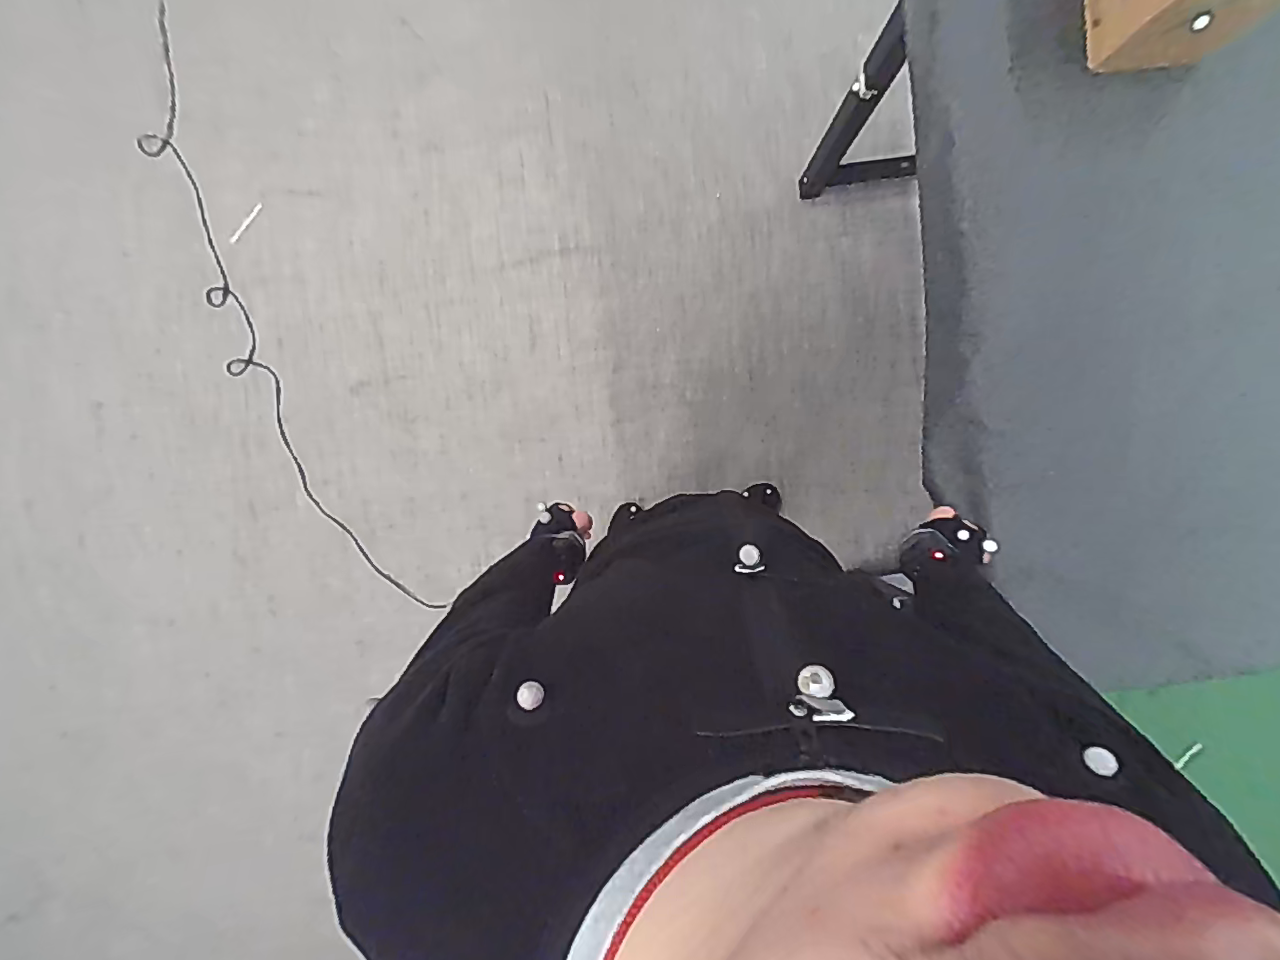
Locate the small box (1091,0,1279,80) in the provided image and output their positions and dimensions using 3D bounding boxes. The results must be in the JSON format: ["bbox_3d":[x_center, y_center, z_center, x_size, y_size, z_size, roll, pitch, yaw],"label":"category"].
[{"bbox_3d":[0.764,-0.689,0.742,0.179,0.176,0.168,-4,92,0],"label":"small box"}]
